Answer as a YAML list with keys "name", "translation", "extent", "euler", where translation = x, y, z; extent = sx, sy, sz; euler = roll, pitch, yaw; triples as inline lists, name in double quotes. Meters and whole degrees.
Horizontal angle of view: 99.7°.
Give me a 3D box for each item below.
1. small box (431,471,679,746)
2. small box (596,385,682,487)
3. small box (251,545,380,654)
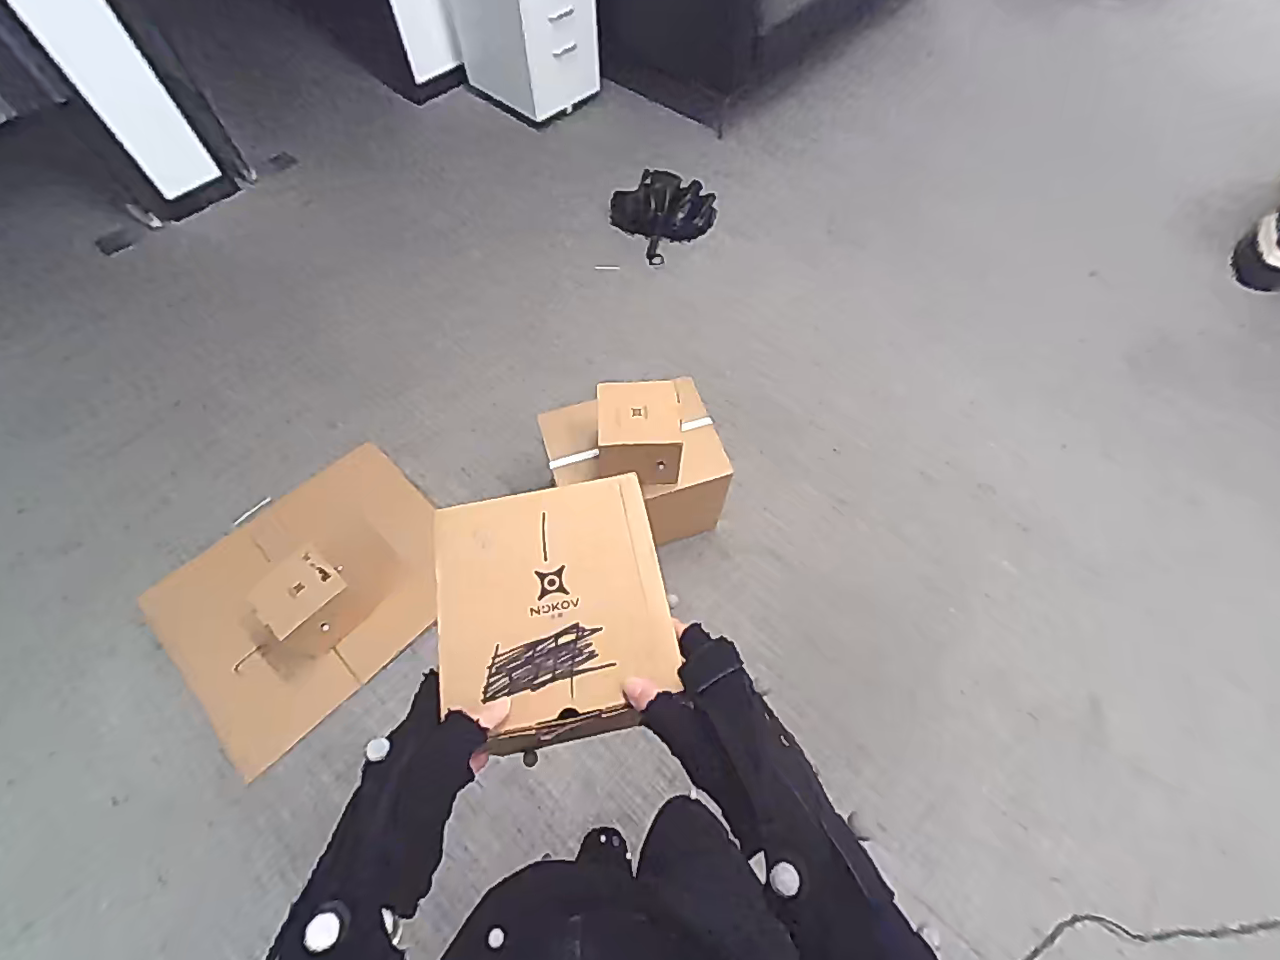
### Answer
- name: "small box"
  translation: [-0.068, 0.120, 0.478]
  extent: [0.168, 0.176, 0.179]
  euler: [-13, 63, -6]
- name: "small box"
  translation: [-0.005, -0.094, 1.211]
  extent: [0.179, 0.176, 0.168]
  euler: [-4, 60, -1]
- name: "small box"
  translation: [-0.785, 0.298, 1.326]
  extent: [0.168, 0.176, 0.179]
  euler: [34, 67, 20]
